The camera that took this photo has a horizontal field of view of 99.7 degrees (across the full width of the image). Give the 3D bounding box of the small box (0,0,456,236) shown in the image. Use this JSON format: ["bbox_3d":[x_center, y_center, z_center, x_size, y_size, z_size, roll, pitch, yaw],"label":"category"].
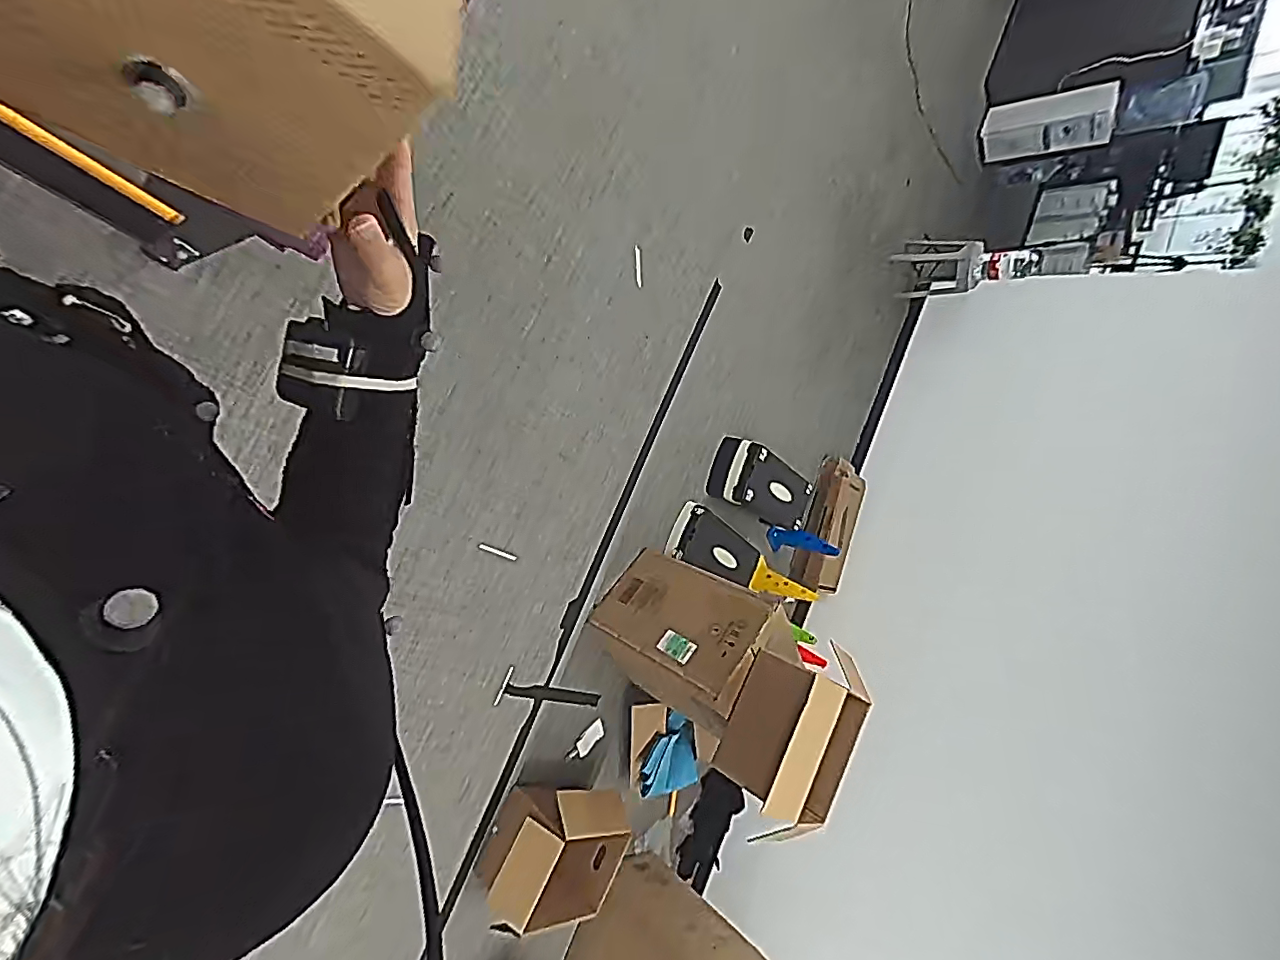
[{"bbox_3d":[-0.193,-0.247,0.225,0.179,0.176,0.168,17,74,-46],"label":"small box"}]
